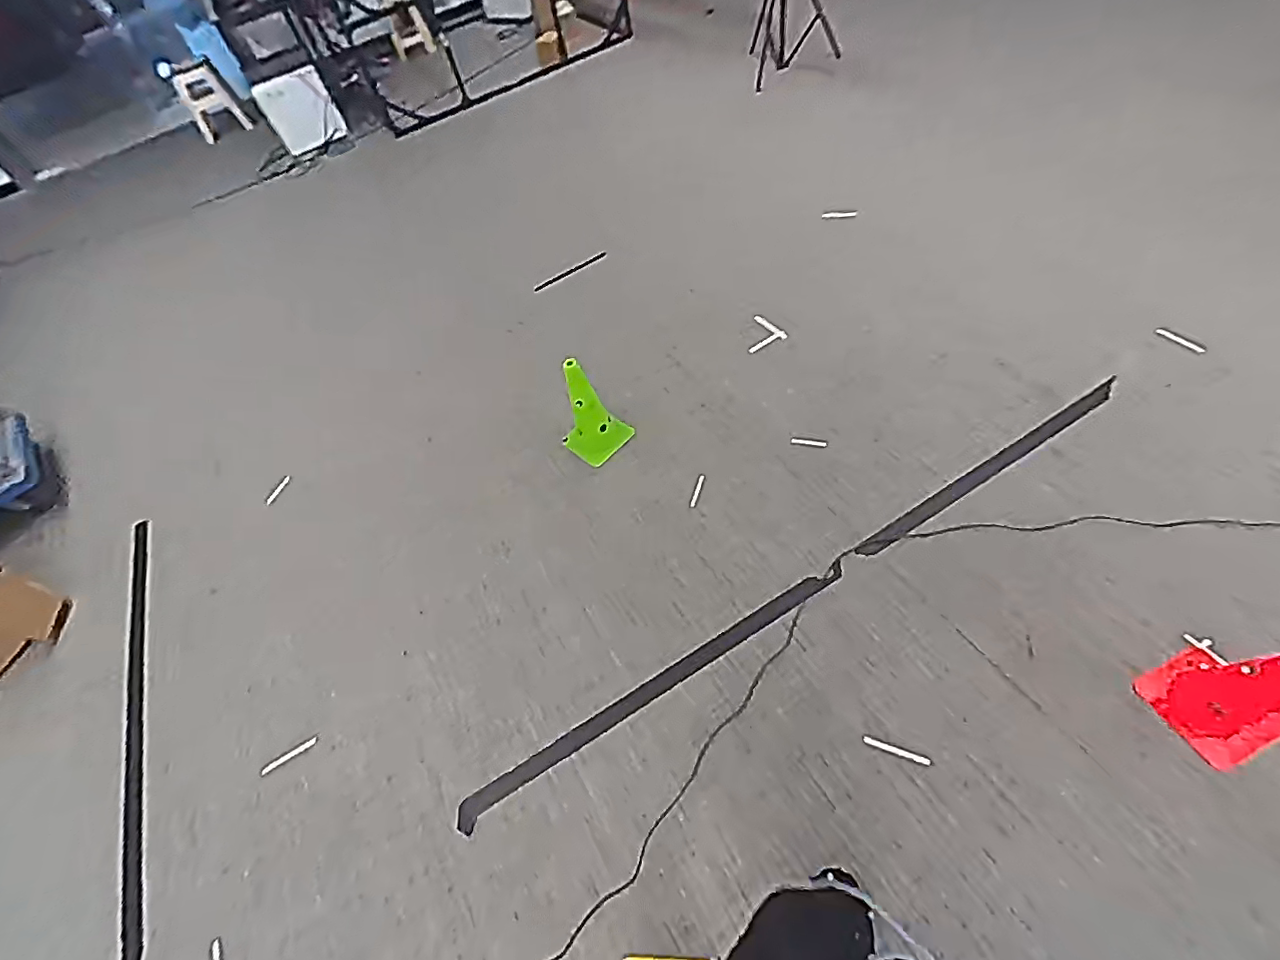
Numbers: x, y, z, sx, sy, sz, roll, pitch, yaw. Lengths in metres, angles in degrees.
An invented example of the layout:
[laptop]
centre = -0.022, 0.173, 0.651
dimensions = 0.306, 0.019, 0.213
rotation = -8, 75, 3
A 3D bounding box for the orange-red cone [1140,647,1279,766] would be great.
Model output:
[orange-red cone]
centre = 1.192, 0.382, 1.018
dimensions = 0.199, 0.360, 0.198
rotation = -25, 53, -4

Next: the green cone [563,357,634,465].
[green cone]
centre = -0.176, -0.254, 1.778
dimensions = 0.200, 0.368, 0.202
rotation = 35, 67, 30
